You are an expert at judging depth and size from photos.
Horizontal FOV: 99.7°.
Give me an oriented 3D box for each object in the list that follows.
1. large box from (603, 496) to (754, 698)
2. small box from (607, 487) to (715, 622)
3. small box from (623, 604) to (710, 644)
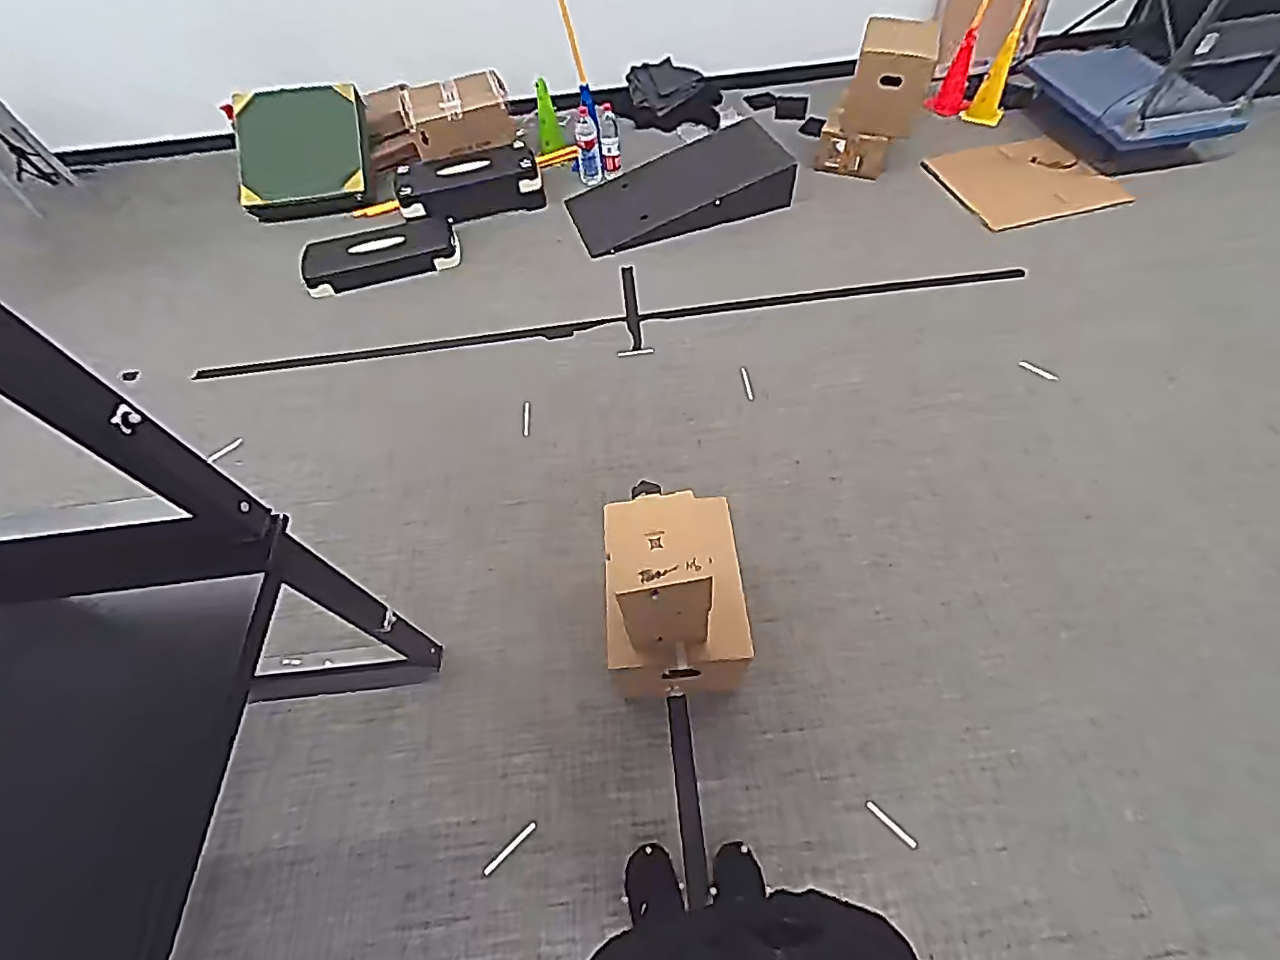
[{"bbox_3d":[0.085,0.300,1.370,0.320,0.320,0.408,-5,56,0],"label":"large box"},{"bbox_3d":[0.038,0.139,0.991,0.168,0.176,0.179,-10,56,1],"label":"small box"},{"bbox_3d":[0.051,0.226,1.129,0.168,0.176,0.179,-7,57,2],"label":"small box"}]
